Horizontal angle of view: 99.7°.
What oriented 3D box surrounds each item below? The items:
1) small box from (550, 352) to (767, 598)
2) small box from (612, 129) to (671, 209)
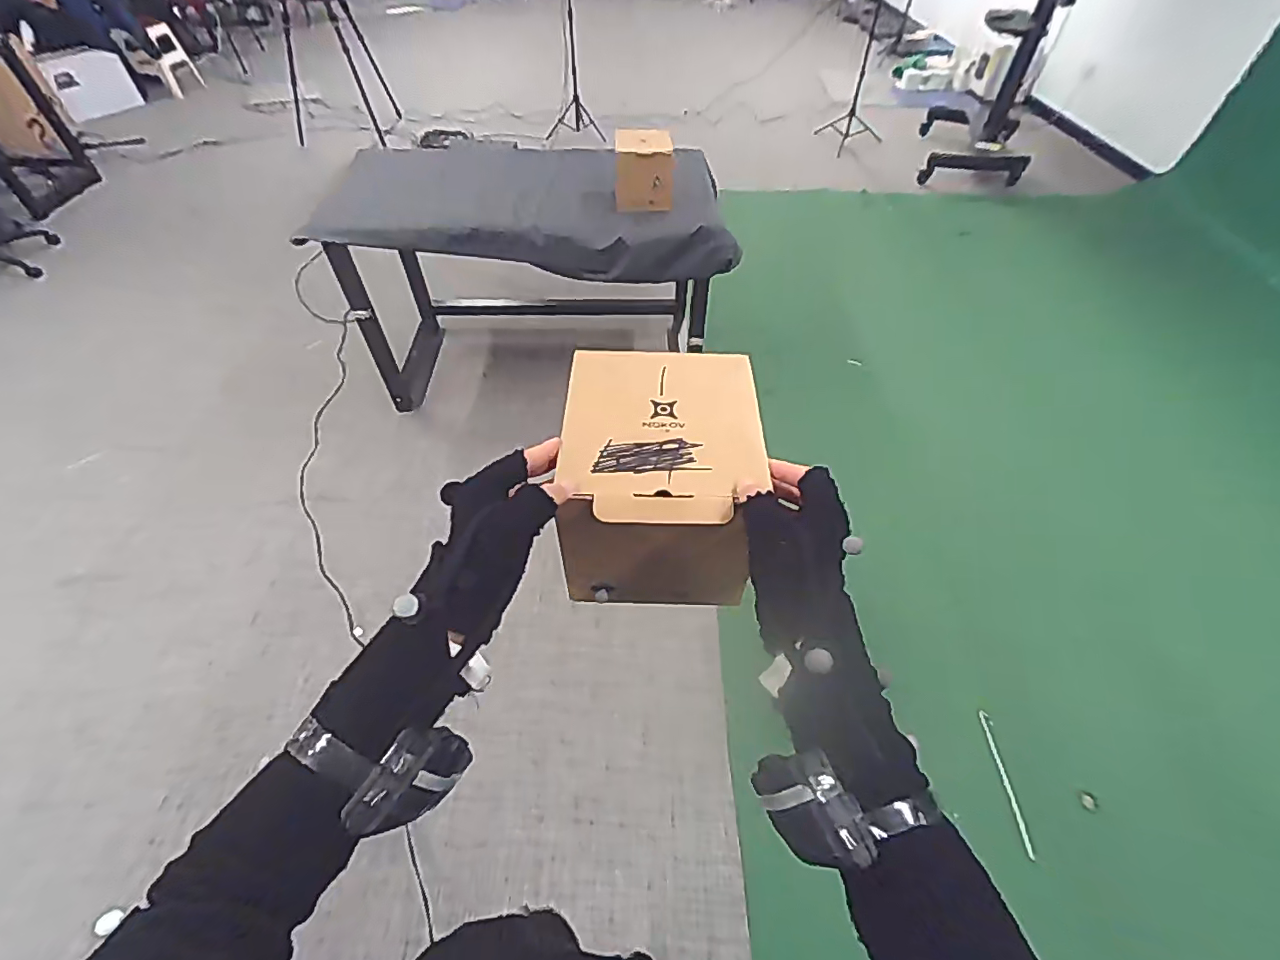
[{"bbox_3d":[0.016,-0.001,0.514,0.168,0.176,0.179,1,49,0],"label":"small box"},{"bbox_3d":[0.002,-0.933,1.624,0.168,0.176,0.179,-2,48,-3],"label":"small box"}]
